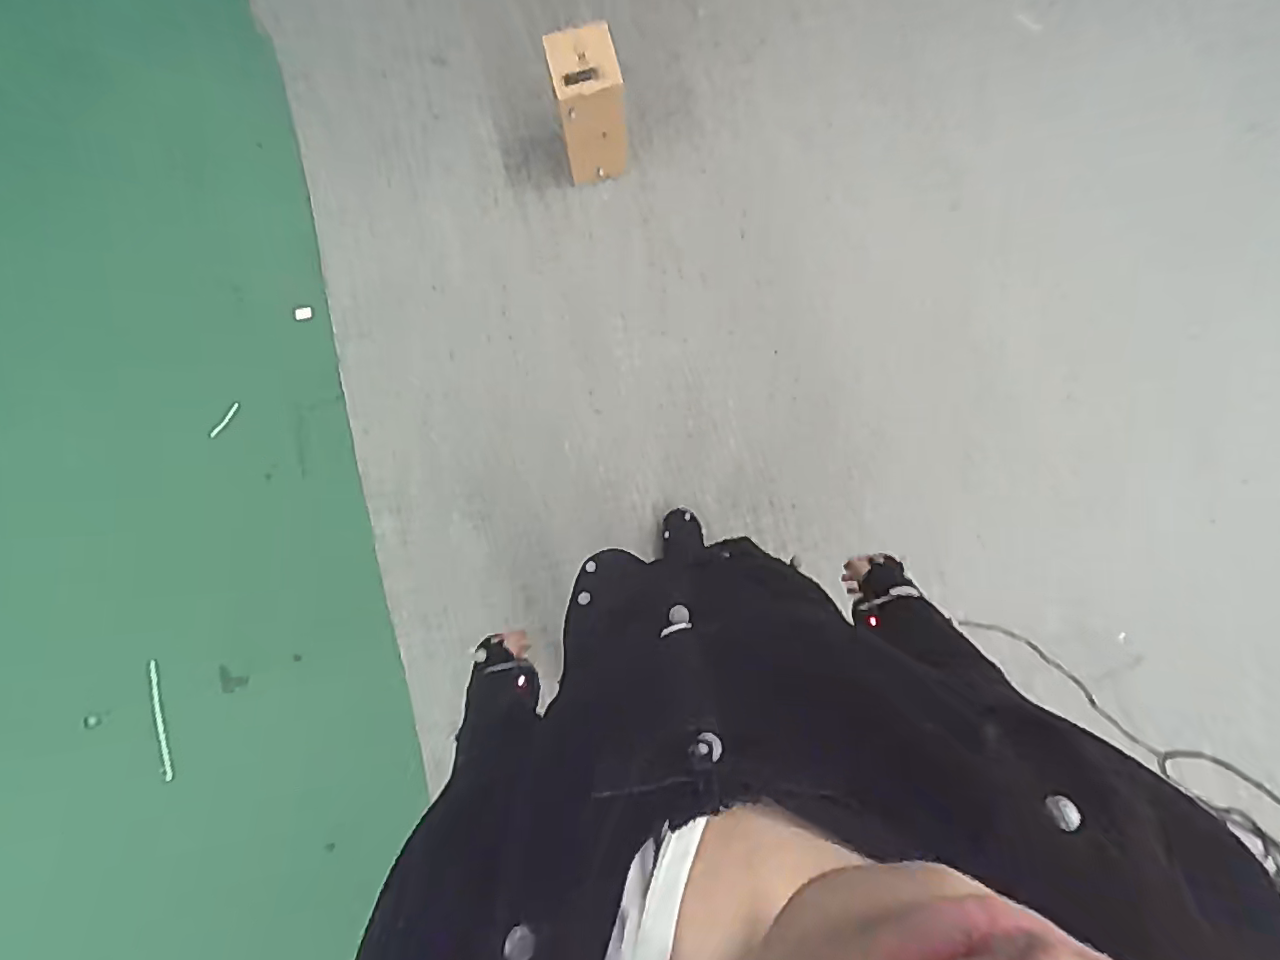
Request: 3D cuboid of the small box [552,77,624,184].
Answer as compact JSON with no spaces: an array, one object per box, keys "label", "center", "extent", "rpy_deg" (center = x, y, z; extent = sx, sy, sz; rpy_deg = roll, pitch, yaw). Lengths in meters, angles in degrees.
[{"label":"small box","center":[-0.144,-0.987,1.538],"extent":[0.168,0.176,0.179],"rpy_deg":[-14,85,-1]}]
